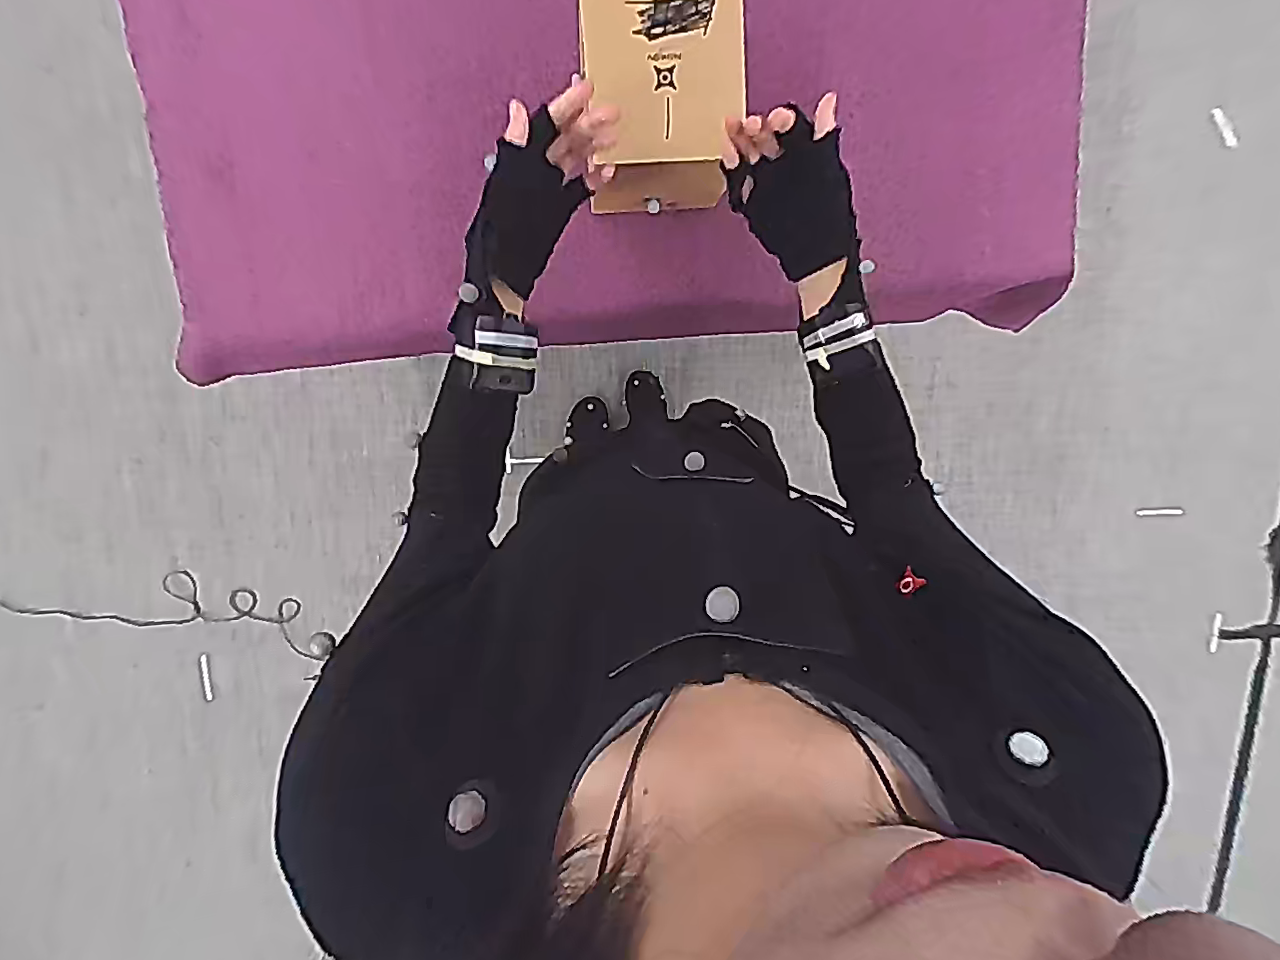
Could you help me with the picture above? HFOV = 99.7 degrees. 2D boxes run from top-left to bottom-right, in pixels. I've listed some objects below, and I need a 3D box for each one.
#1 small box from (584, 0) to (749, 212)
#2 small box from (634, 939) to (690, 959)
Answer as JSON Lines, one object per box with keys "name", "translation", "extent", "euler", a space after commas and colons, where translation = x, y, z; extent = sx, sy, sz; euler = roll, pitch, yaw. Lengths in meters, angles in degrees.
{"name": "small box", "translation": [0.022, -0.433, 0.628], "extent": [0.168, 0.176, 0.179], "euler": [-5, 101, -4]}
{"name": "small box", "translation": [0.069, 1.577, 1.679], "extent": [0.179, 0.176, 0.168], "euler": [1, 100, -4]}
